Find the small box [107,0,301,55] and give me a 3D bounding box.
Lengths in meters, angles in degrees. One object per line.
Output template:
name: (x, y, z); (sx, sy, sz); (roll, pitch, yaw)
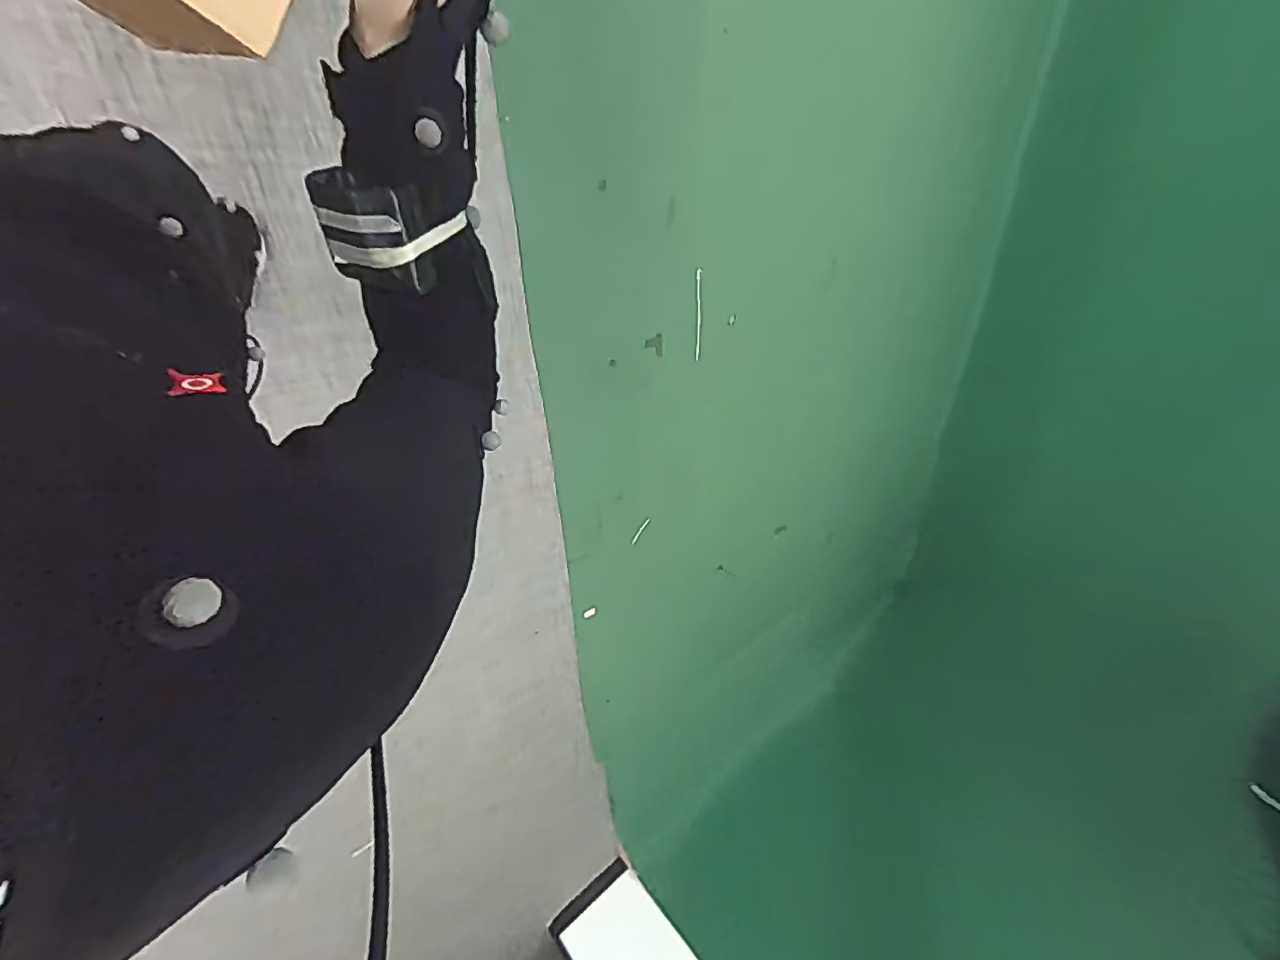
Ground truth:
small box: (-0.211, -0.290, 0.177); (0.179, 0.176, 0.168); (15, 104, -56)
